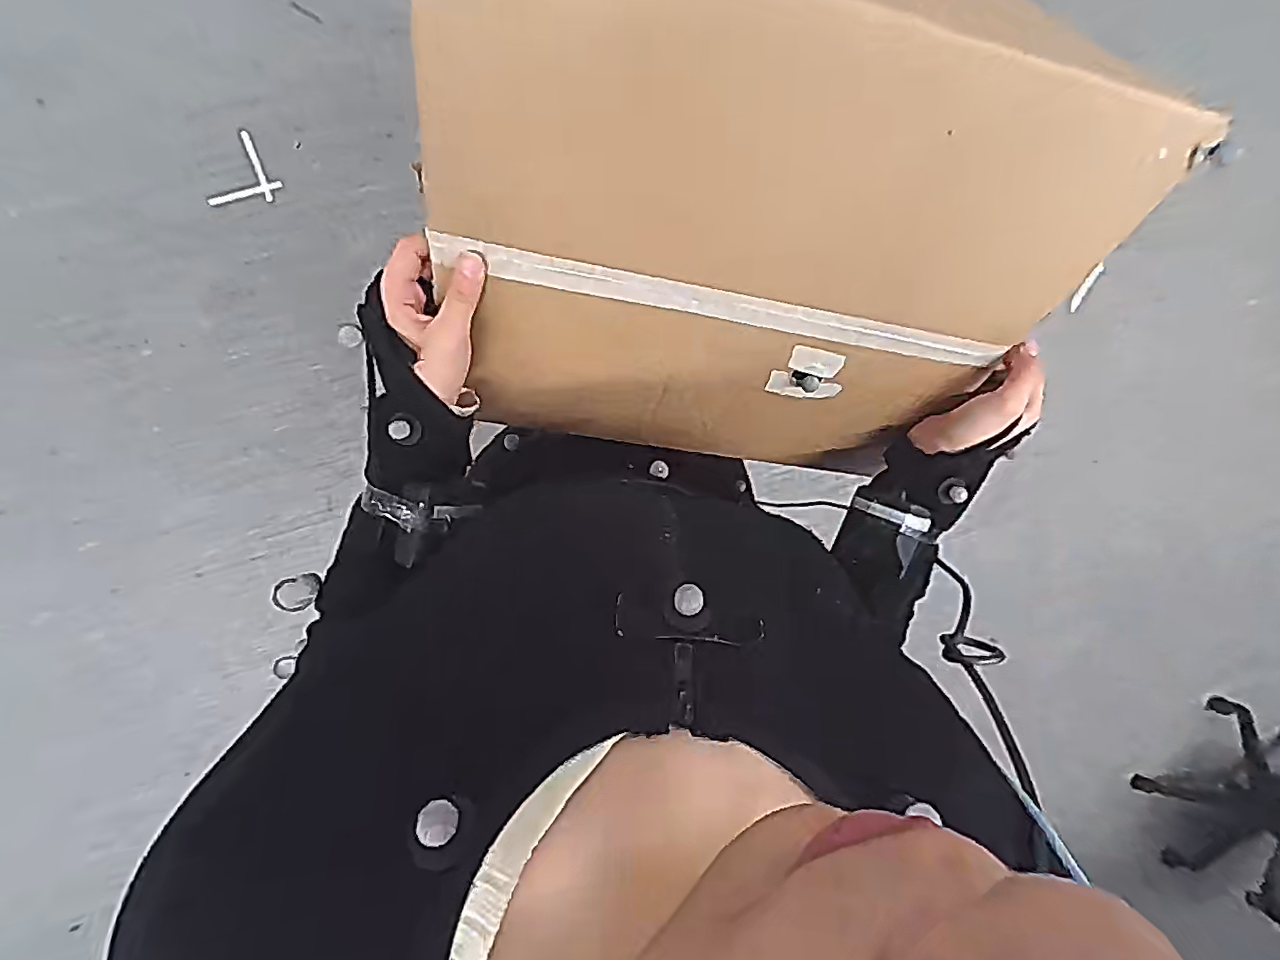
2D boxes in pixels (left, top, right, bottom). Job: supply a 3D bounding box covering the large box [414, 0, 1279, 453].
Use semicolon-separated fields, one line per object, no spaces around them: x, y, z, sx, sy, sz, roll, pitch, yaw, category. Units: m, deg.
0.074;-0.250;0.424;0.408;0.320;0.320;6;144;-11;large box
